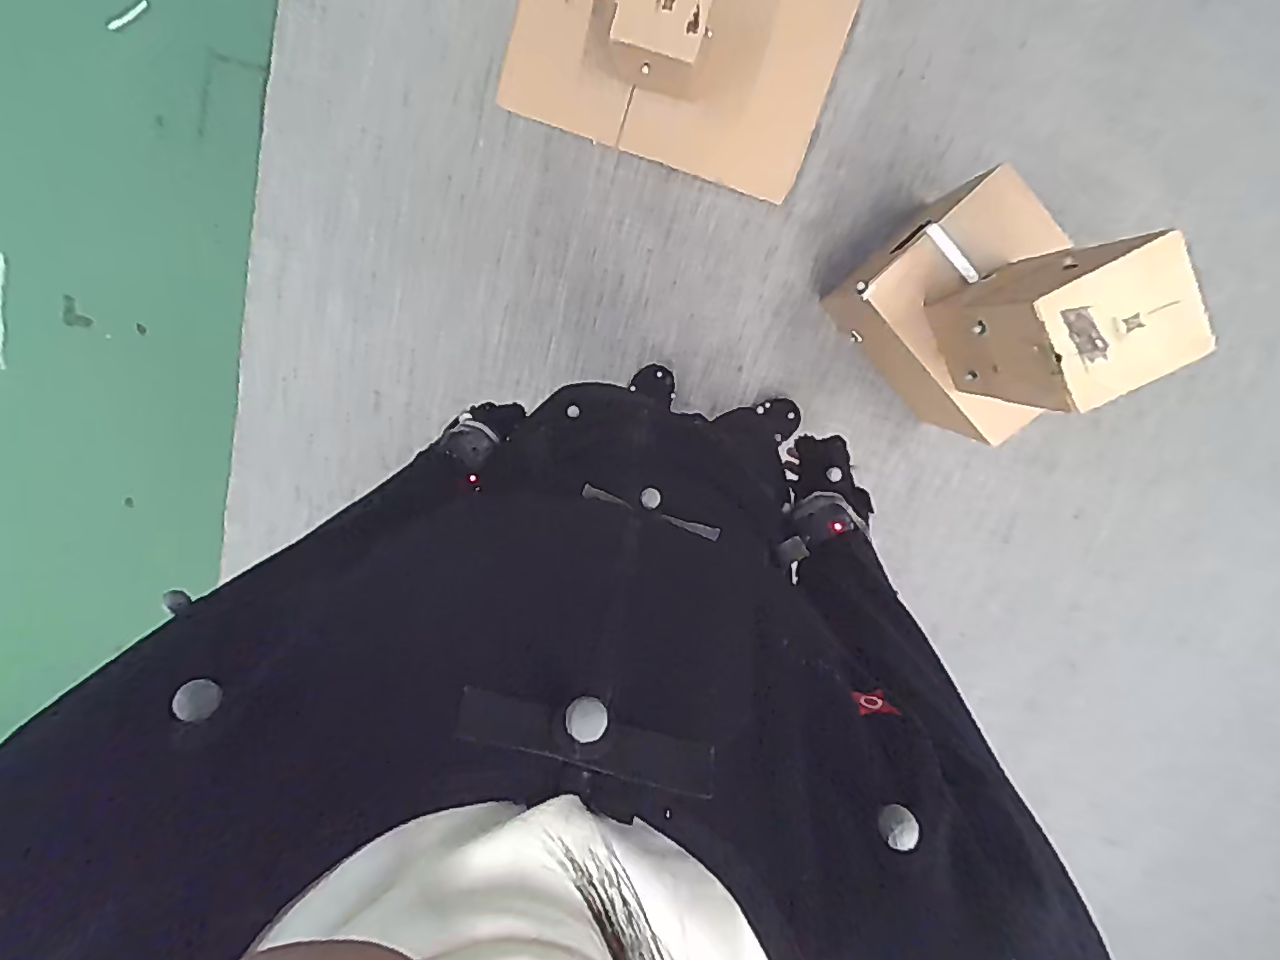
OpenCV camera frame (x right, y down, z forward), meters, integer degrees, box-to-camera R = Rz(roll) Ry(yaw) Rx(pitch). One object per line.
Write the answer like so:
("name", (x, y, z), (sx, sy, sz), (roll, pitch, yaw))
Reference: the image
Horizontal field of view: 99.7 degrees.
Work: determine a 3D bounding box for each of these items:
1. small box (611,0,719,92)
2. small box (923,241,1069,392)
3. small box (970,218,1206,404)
("small box", (0.055, -0.923, 1.089), (0.179, 0.176, 0.168), (15, 103, 2))
("small box", (0.616, -0.269, 0.911), (0.168, 0.176, 0.179), (-27, 100, 10))
("small box", (0.598, -0.226, 0.753), (0.179, 0.176, 0.168), (-30, 101, 12))
